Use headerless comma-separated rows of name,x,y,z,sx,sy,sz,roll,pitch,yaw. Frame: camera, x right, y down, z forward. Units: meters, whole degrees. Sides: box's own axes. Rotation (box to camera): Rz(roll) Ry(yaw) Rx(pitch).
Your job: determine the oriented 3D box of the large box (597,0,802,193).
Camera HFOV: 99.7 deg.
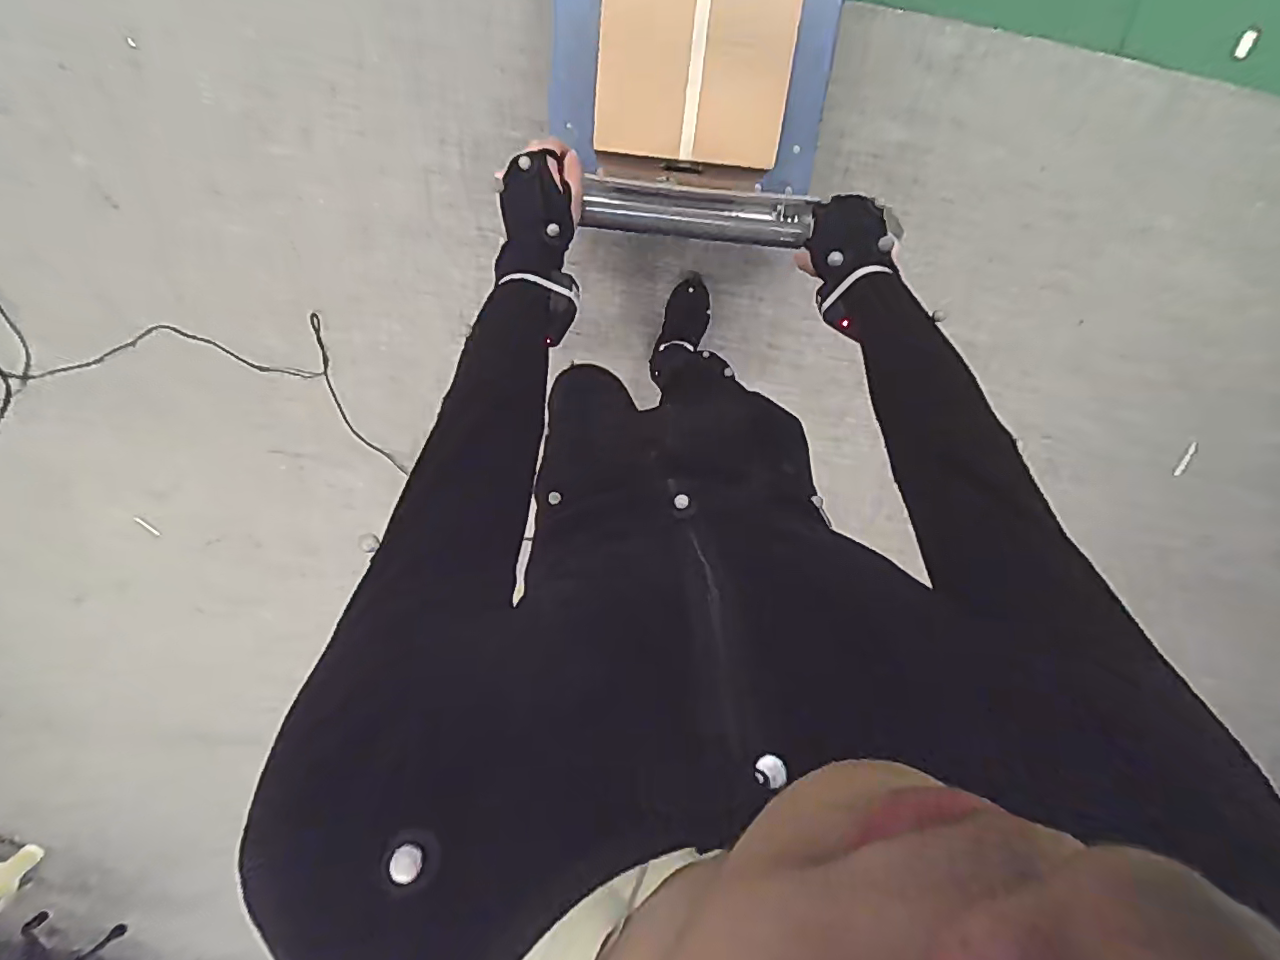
large box,0.101,-0.776,0.988,0.320,0.320,0.408,5,111,-1
